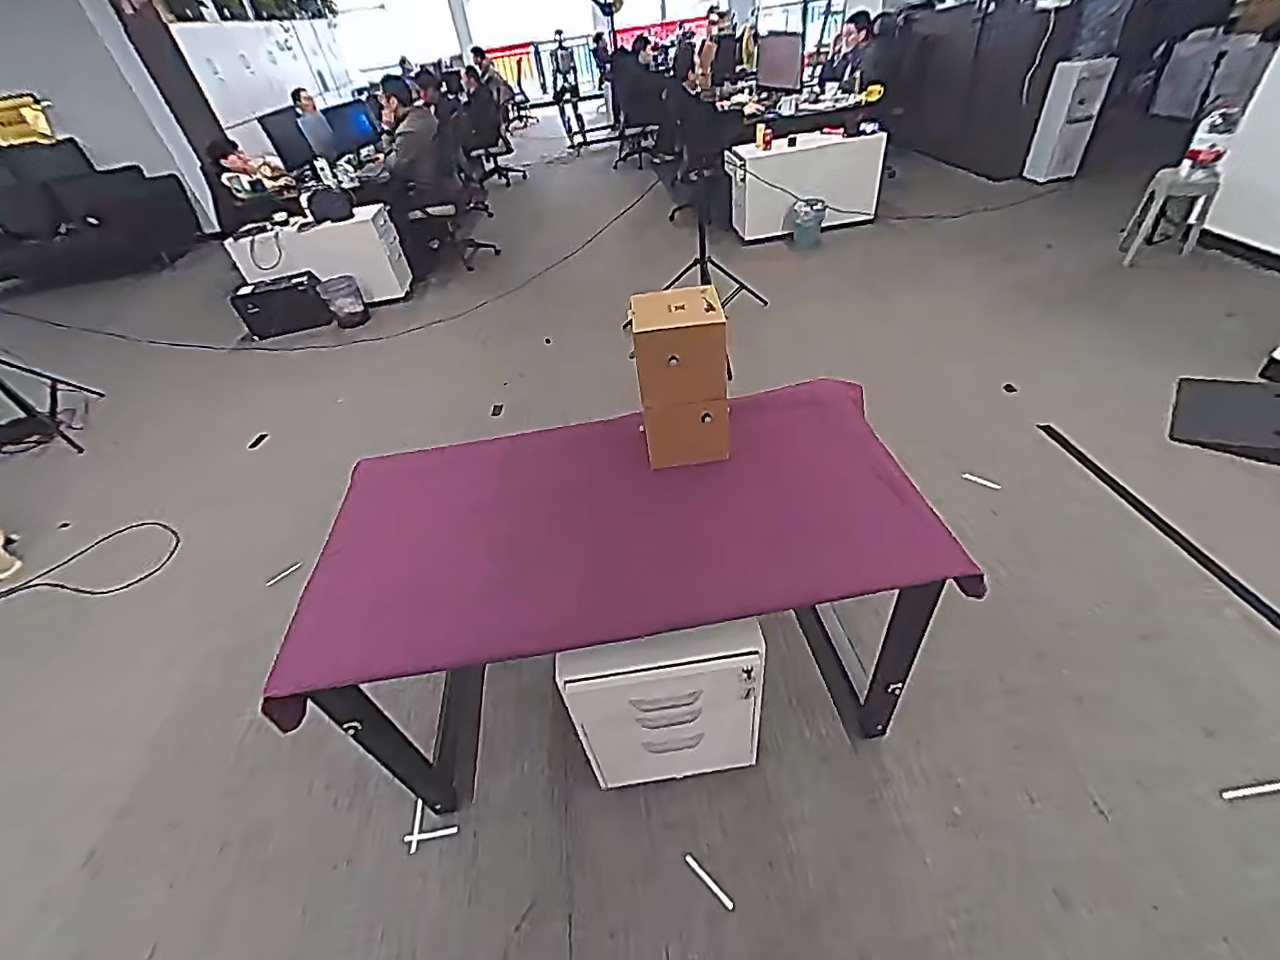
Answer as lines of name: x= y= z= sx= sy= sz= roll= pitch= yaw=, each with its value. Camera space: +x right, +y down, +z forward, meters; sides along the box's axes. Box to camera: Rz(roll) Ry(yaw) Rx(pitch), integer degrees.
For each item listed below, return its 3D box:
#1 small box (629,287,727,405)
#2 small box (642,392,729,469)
small box: x=0.077 y=-0.266 z=1.094 sx=0.179 sy=0.176 sz=0.168 roll=-7 pitch=43 yaw=4
small box: x=0.098 y=-0.144 z=1.202 sx=0.179 sy=0.176 sz=0.168 roll=-8 pitch=42 yaw=2
